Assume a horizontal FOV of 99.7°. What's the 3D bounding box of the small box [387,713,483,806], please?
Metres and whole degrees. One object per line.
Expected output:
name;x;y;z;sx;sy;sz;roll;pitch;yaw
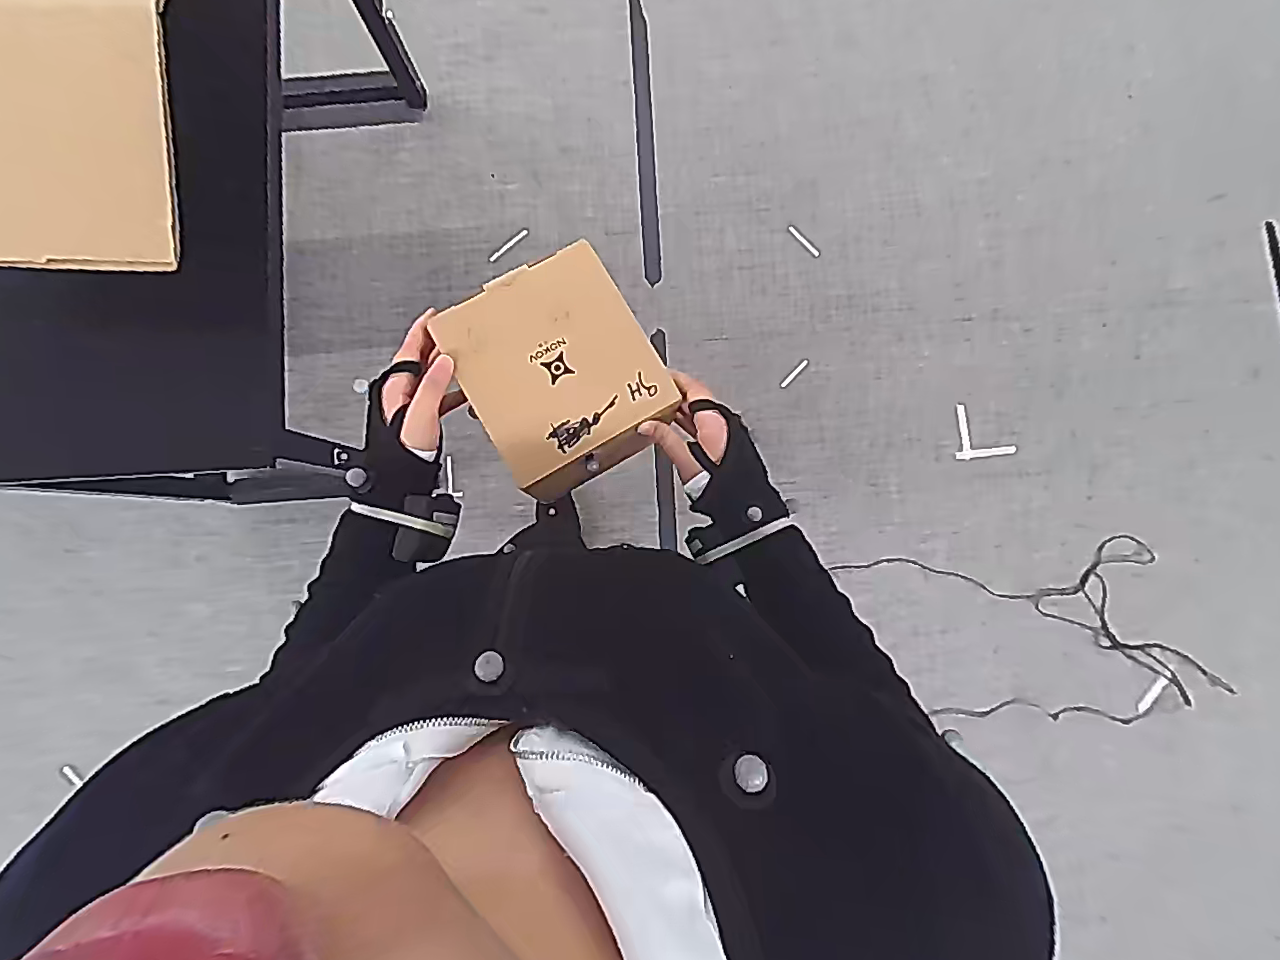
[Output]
small box;-0.513;0.708;1.368;0.179;0.176;0.168;-7;85;-2

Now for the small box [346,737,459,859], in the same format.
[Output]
small box;-0.517;0.697;1.206;0.179;0.176;0.168;-11;84;0
